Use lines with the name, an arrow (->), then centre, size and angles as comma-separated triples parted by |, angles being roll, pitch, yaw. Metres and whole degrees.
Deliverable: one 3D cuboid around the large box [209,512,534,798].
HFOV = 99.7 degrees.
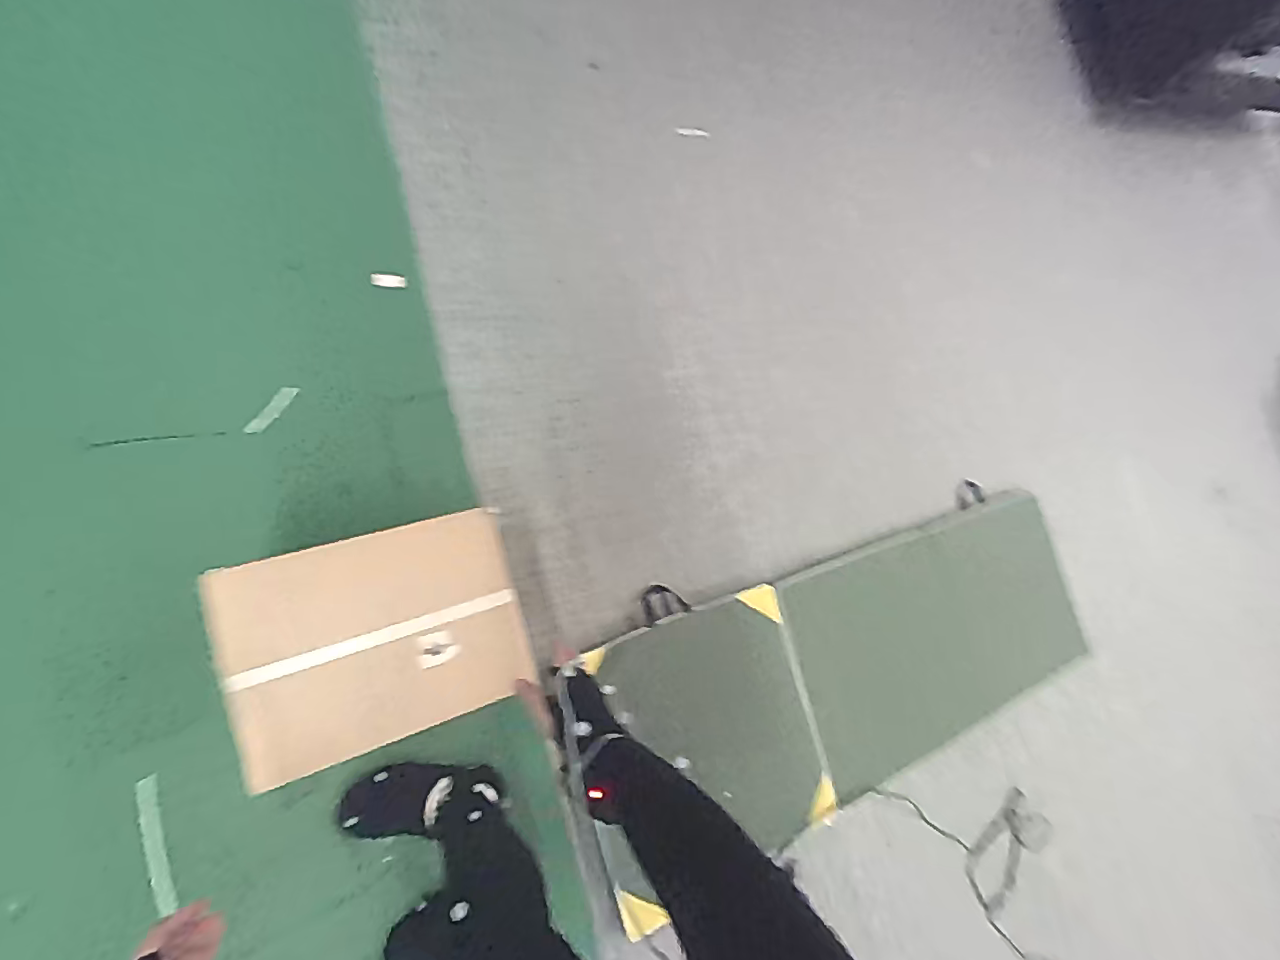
large box -> -0.451, 0.277, 0.966 | 0.408, 0.320, 0.320 | -15, 85, -26
